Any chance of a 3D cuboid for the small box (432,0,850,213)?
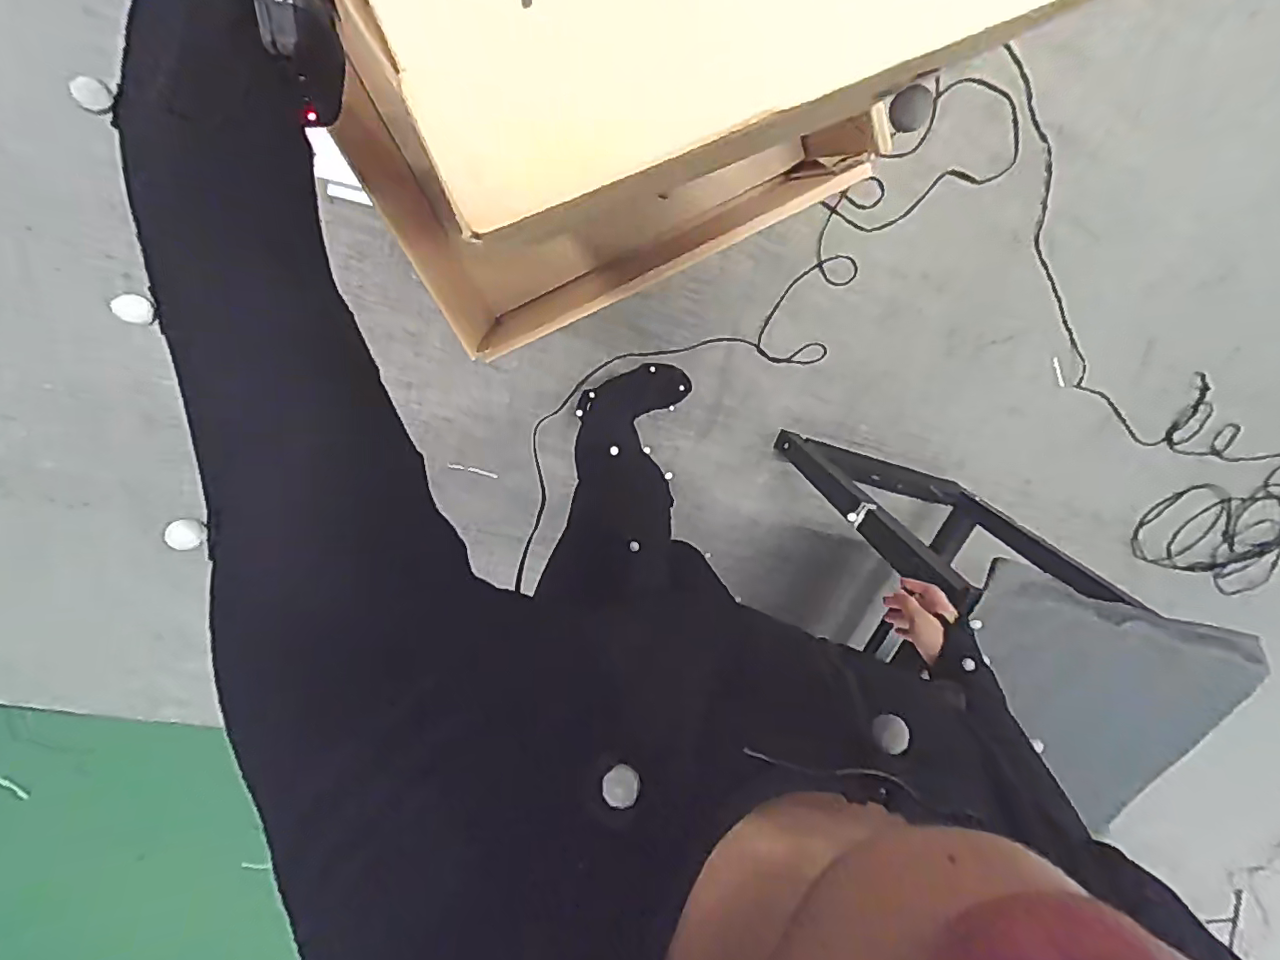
[{"bbox_3d":[-0.016,-0.270,0.304,0.179,0.176,0.168,-23,113,6],"label":"small box"}]
